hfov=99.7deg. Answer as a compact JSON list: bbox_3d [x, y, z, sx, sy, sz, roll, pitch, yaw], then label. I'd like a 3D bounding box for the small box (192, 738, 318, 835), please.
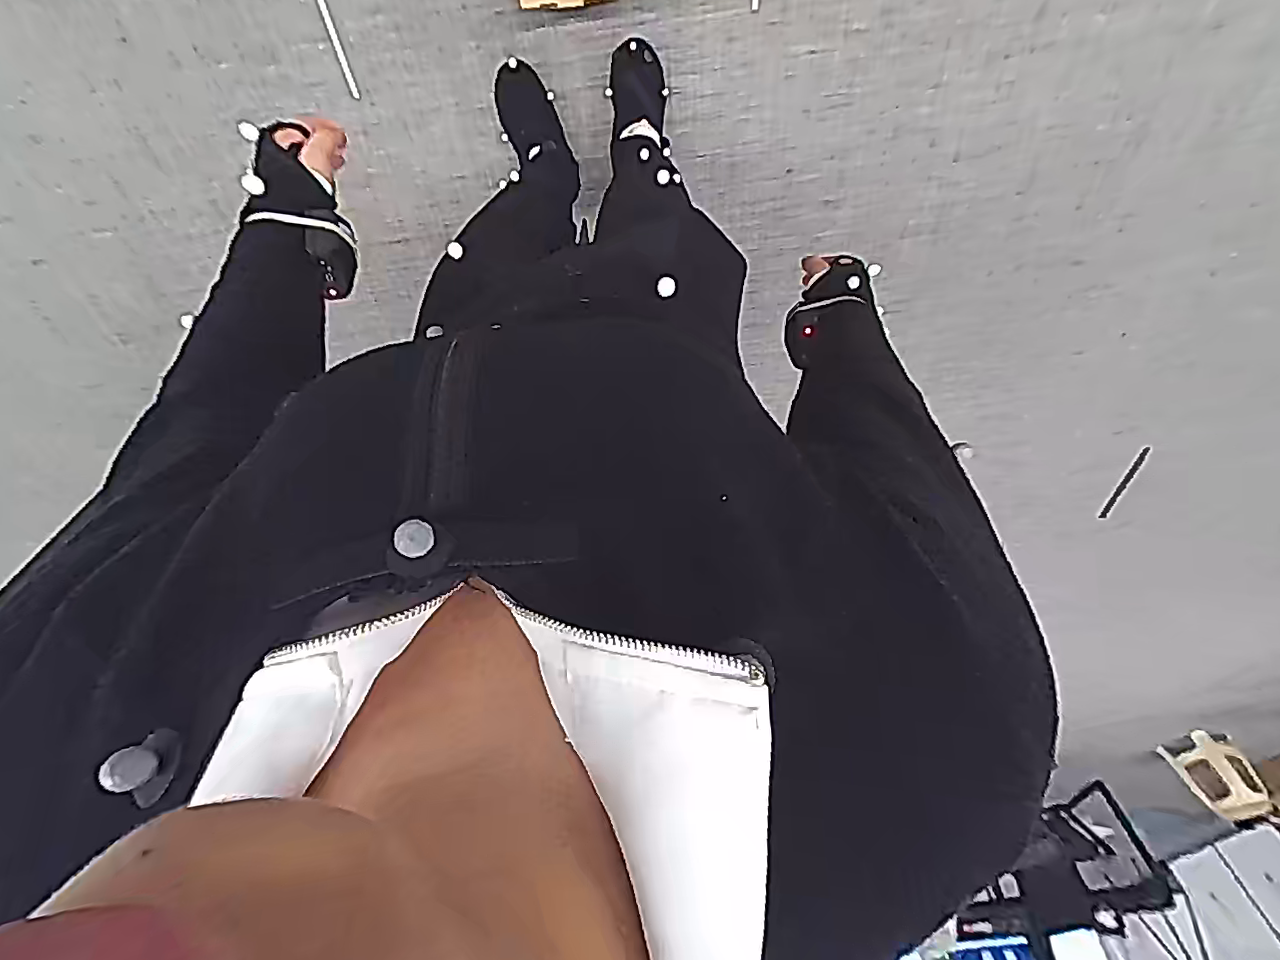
[{"bbox_3d":[-0.961,0.776,1.371,0.168,0.176,0.179,-6,132,2],"label":"small box"}]

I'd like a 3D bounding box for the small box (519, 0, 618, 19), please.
[{"bbox_3d":[-0.125,-0.892,0.894,0.168,0.176,0.179,-6,134,0],"label":"small box"}]
